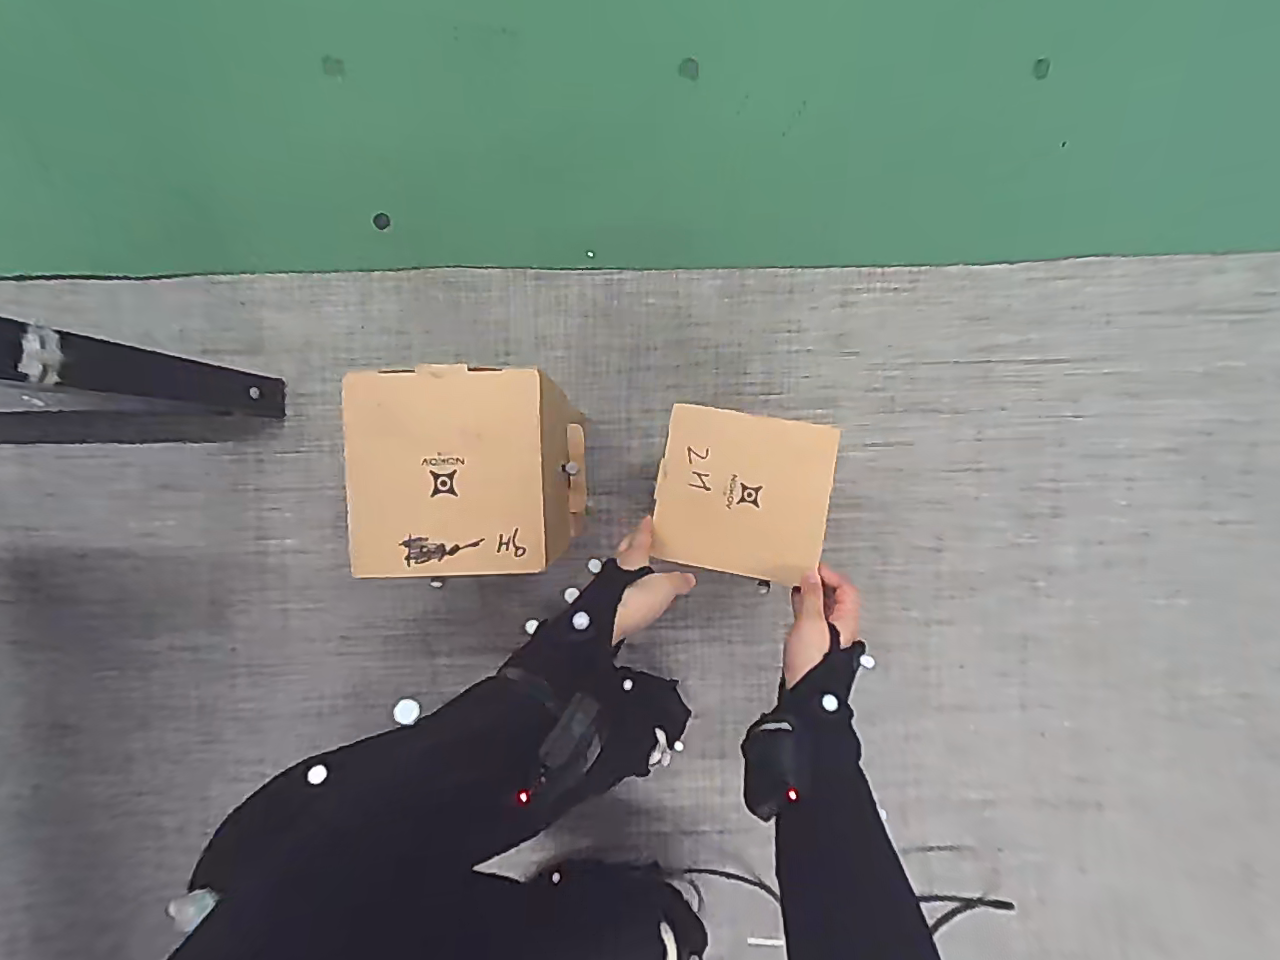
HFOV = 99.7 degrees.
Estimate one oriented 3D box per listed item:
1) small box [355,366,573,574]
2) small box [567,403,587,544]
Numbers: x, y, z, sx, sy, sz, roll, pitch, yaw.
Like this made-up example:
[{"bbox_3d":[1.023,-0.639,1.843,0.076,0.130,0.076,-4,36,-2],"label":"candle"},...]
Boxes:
[{"bbox_3d":[-0.157,-0.008,0.531,0.168,0.176,0.179,0,91,-1],"label":"small box"},{"bbox_3d":[-0.161,-0.007,0.696,0.179,0.176,0.168,-3,91,-1],"label":"small box"}]
